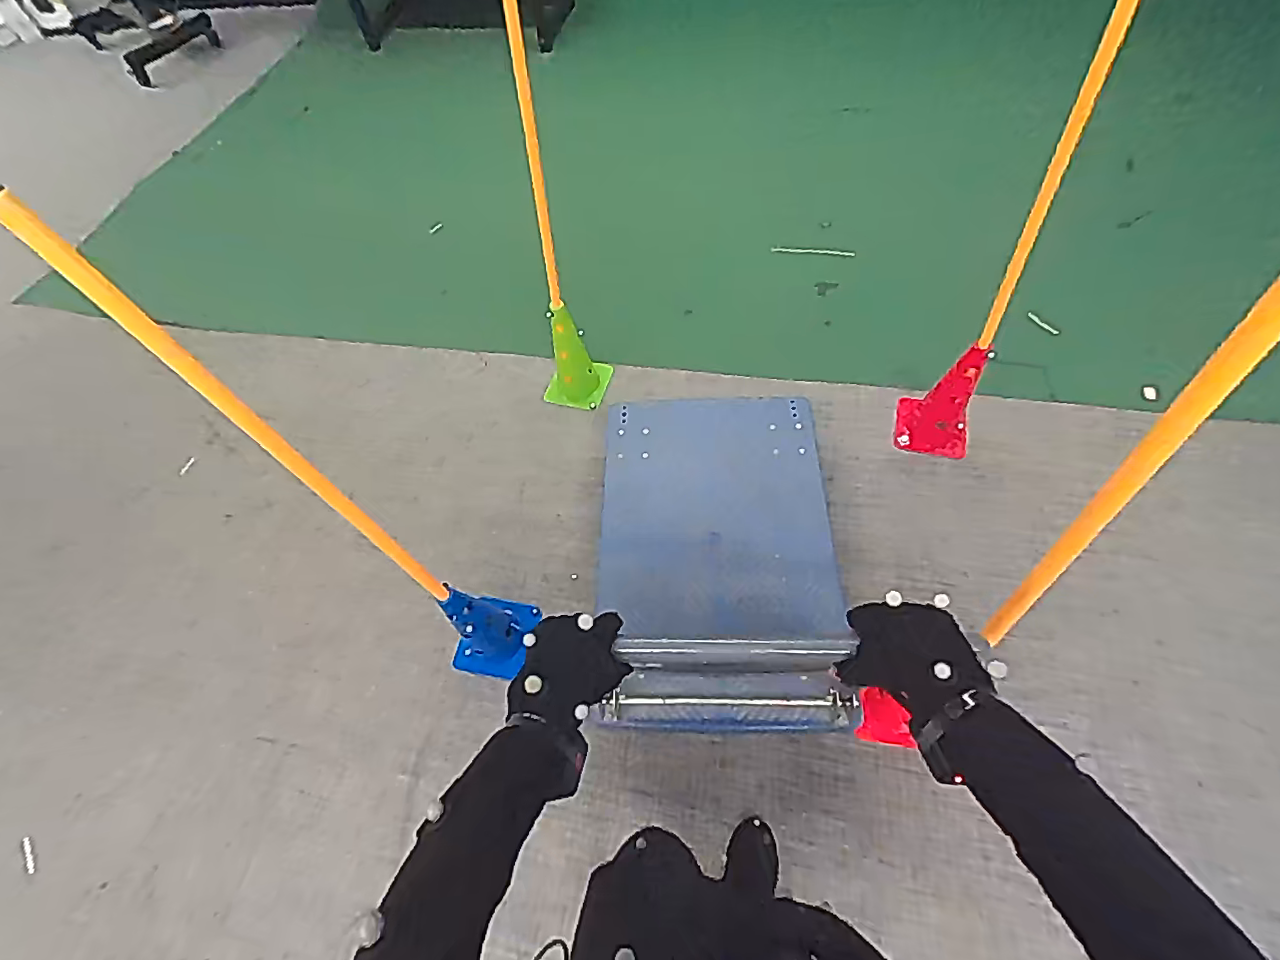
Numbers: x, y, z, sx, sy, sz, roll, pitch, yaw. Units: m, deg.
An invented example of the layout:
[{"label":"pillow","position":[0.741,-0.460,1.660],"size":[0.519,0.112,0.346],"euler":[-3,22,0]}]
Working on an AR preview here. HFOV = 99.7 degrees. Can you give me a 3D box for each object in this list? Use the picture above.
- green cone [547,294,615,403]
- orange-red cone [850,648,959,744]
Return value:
[{"label":"green cone","position":[-0.221,-0.440,1.725],"size":[0.202,0.368,0.200],"euler":[11,62,13]},{"label":"orange-red cone","position":[0.590,0.430,1.154],"size":[0.199,0.360,0.198],"euler":[7,61,11]}]
